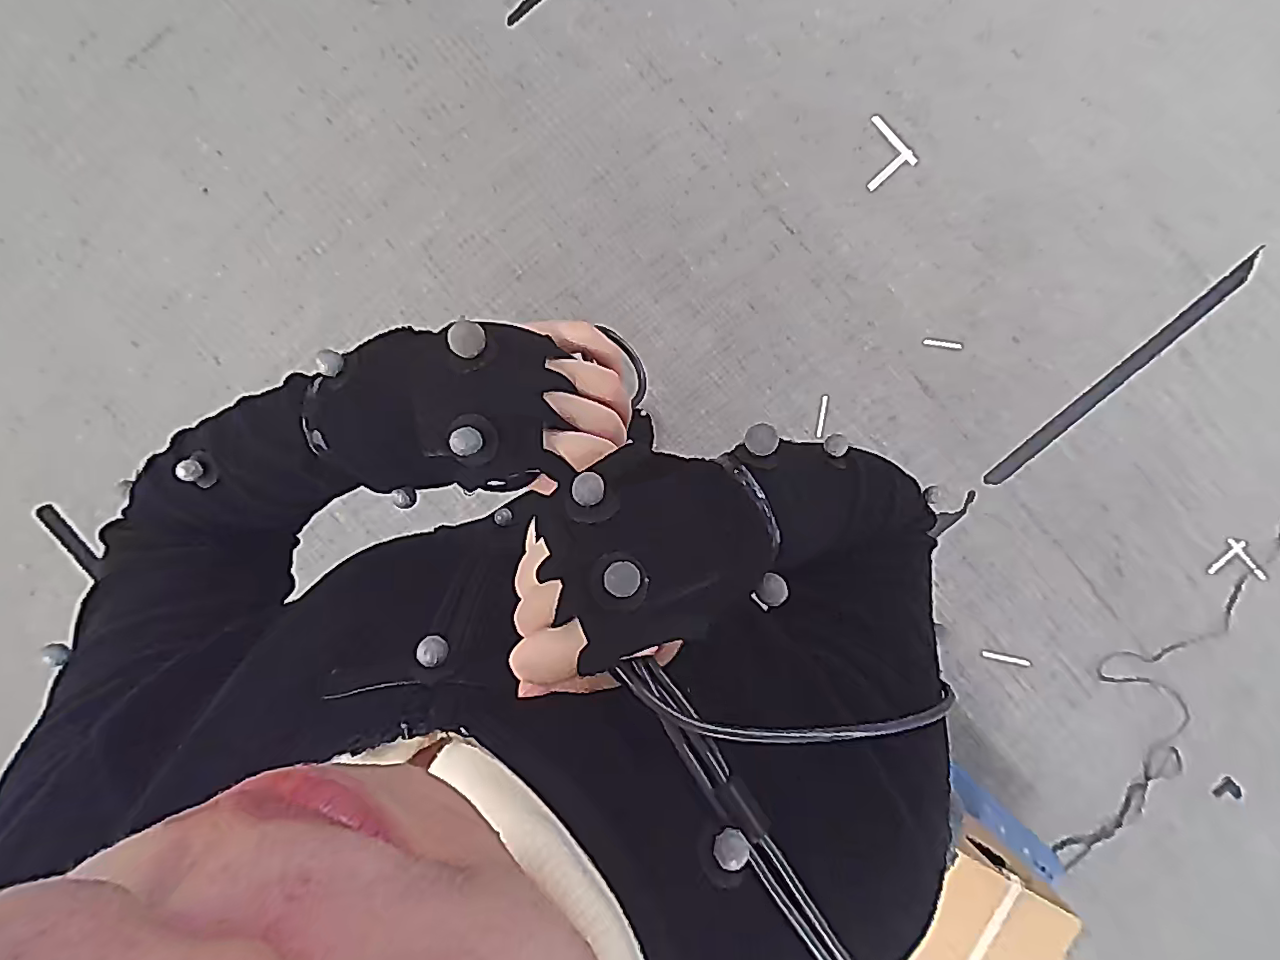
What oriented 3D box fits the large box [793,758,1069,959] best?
[{"bbox_3d":[0.604,0.925,1.190,0.320,0.320,0.408,30,90,-1],"label":"large box"}]
